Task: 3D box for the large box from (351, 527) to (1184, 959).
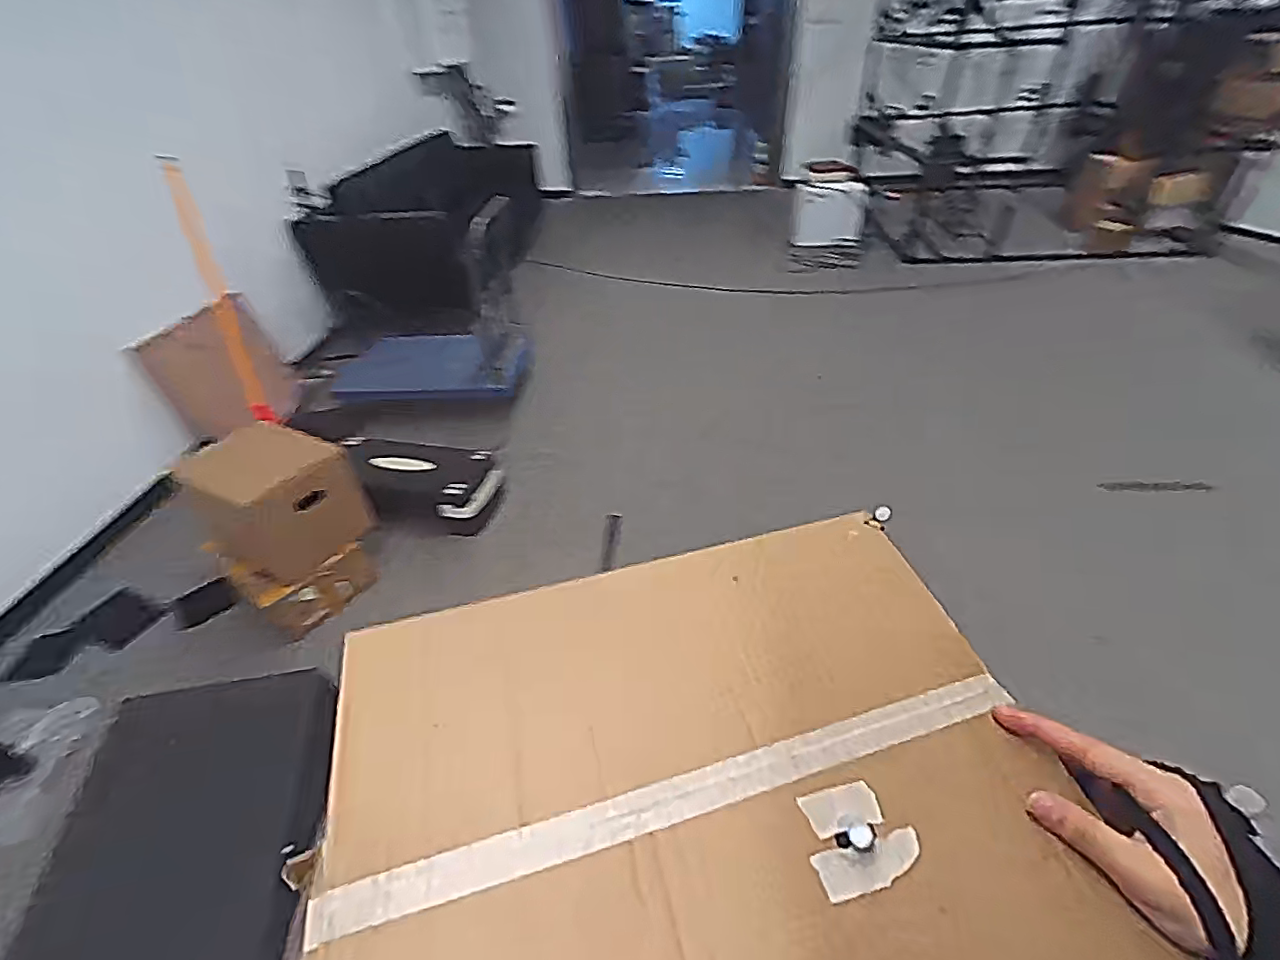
[{"bbox_3d":[0.039,0.285,0.423,0.408,0.320,0.320,-11,49,-12],"label":"large box"}]
